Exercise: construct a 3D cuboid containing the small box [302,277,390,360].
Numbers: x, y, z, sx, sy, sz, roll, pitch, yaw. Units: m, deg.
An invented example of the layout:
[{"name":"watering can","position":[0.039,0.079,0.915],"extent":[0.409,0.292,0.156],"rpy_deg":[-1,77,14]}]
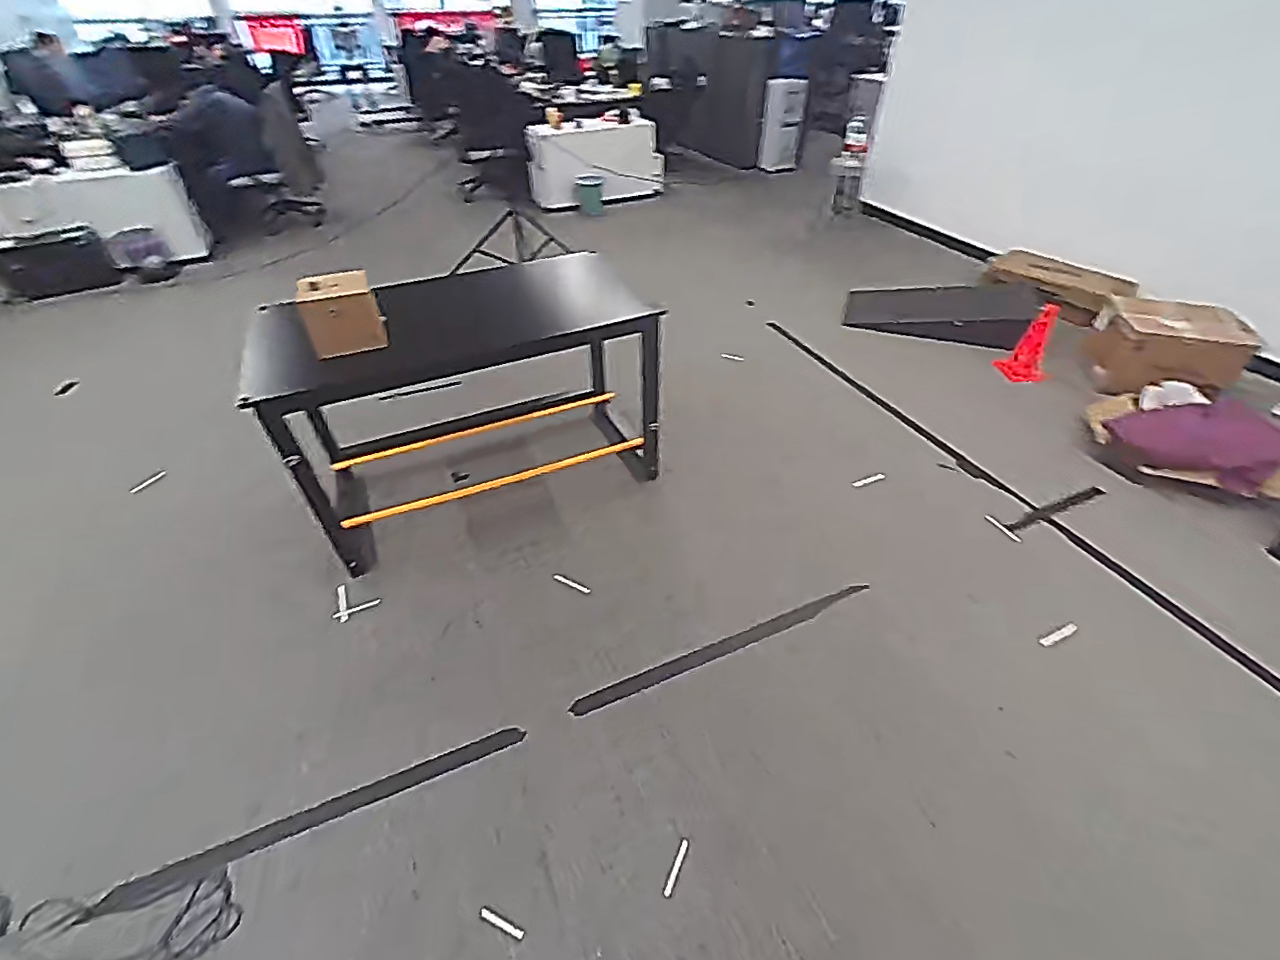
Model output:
[{"name":"small box","position":[-0.840,-0.461,1.554],"extent":[0.179,0.176,0.168],"rpy_deg":[-16,44,-18]}]
